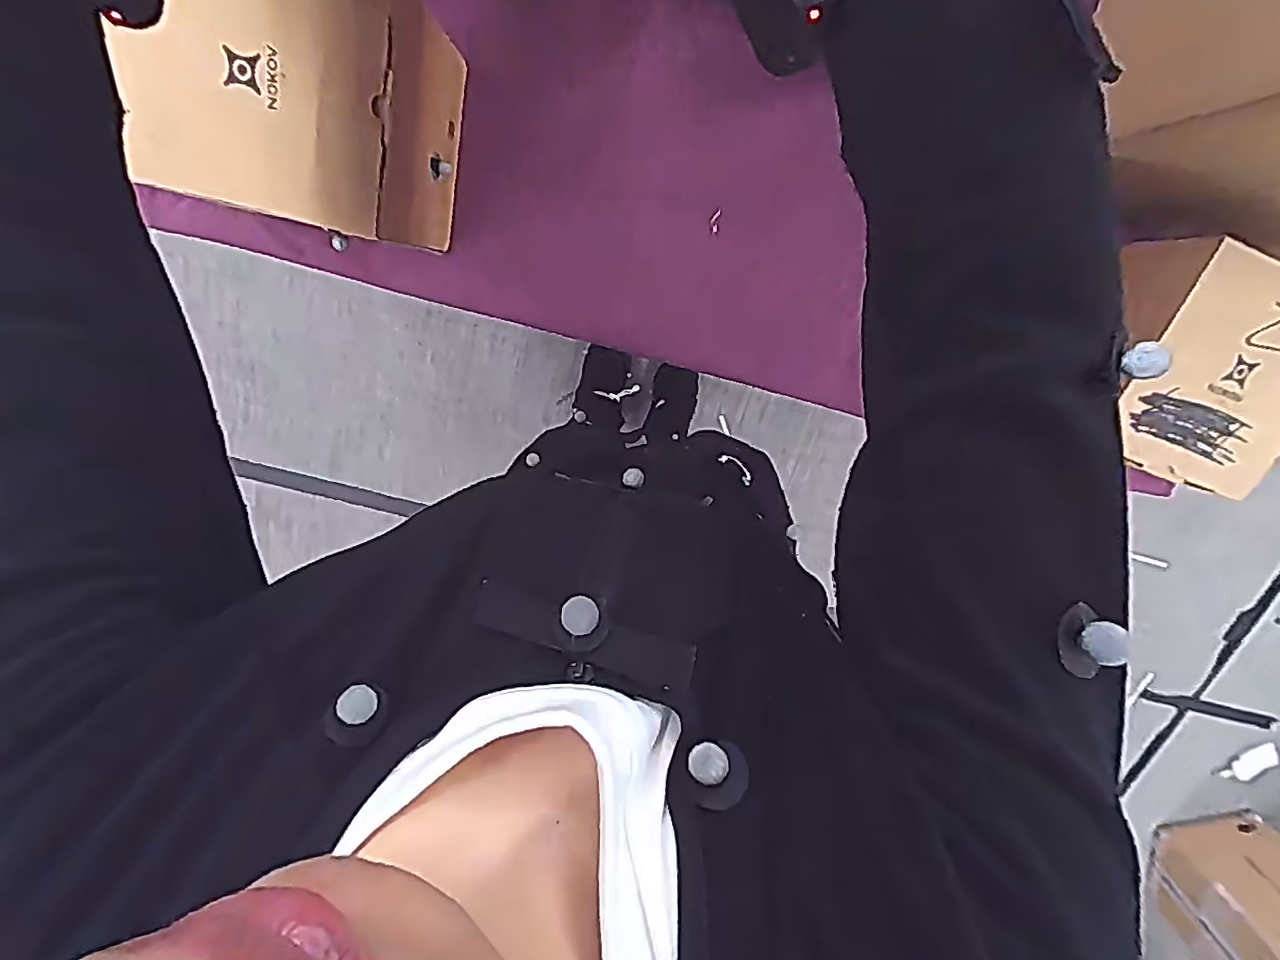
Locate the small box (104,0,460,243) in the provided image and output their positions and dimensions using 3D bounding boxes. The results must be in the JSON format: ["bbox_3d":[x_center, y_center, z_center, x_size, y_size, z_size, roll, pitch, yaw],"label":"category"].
[{"bbox_3d":[-0.259,-0.295,0.427,0.179,0.176,0.168,10,109,-7],"label":"small box"}]
